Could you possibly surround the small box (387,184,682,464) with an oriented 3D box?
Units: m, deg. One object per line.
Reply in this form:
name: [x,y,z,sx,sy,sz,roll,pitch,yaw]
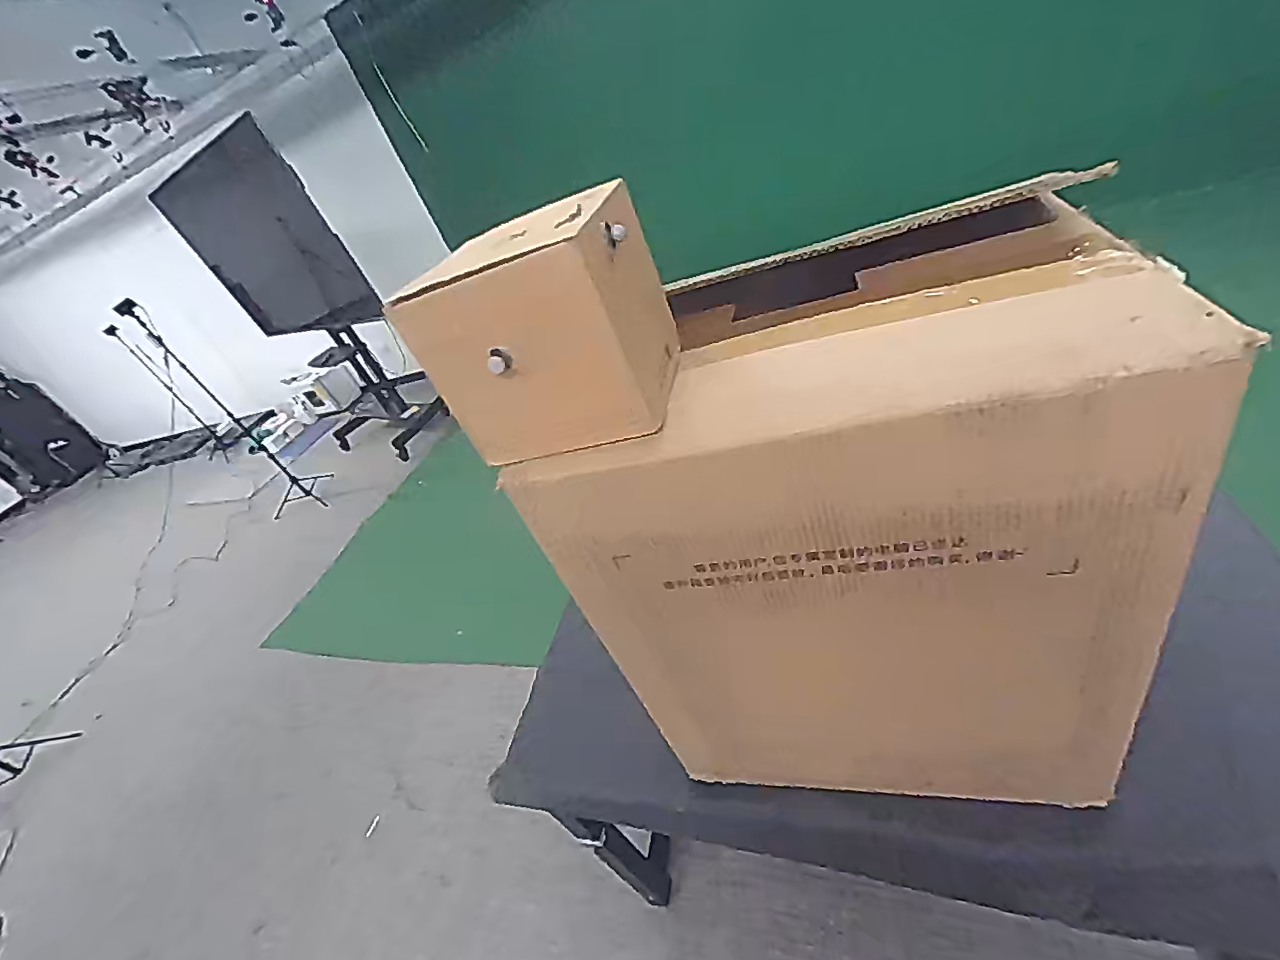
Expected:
small box: [-0.077,-0.133,0.495,0.179,0.176,0.168,-11,38,21]
